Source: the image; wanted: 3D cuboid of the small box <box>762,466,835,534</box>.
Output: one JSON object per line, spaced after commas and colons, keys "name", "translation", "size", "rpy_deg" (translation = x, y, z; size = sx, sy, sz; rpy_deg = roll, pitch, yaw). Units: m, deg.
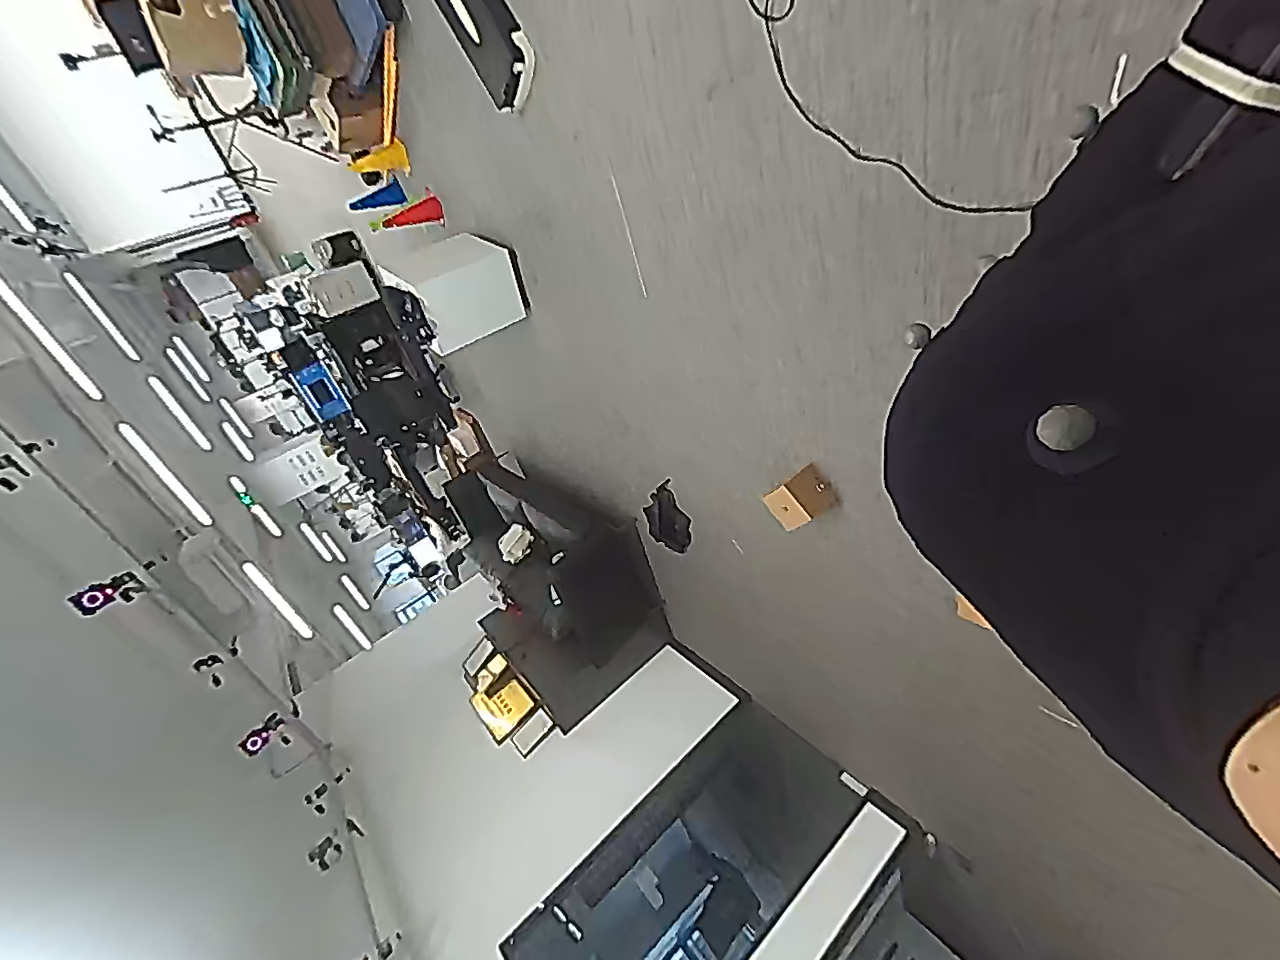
{"name": "small box", "translation": [0.609, 0.076, 2.077], "size": [0.168, 0.176, 0.179], "rpy_deg": [51, 154, 7]}
